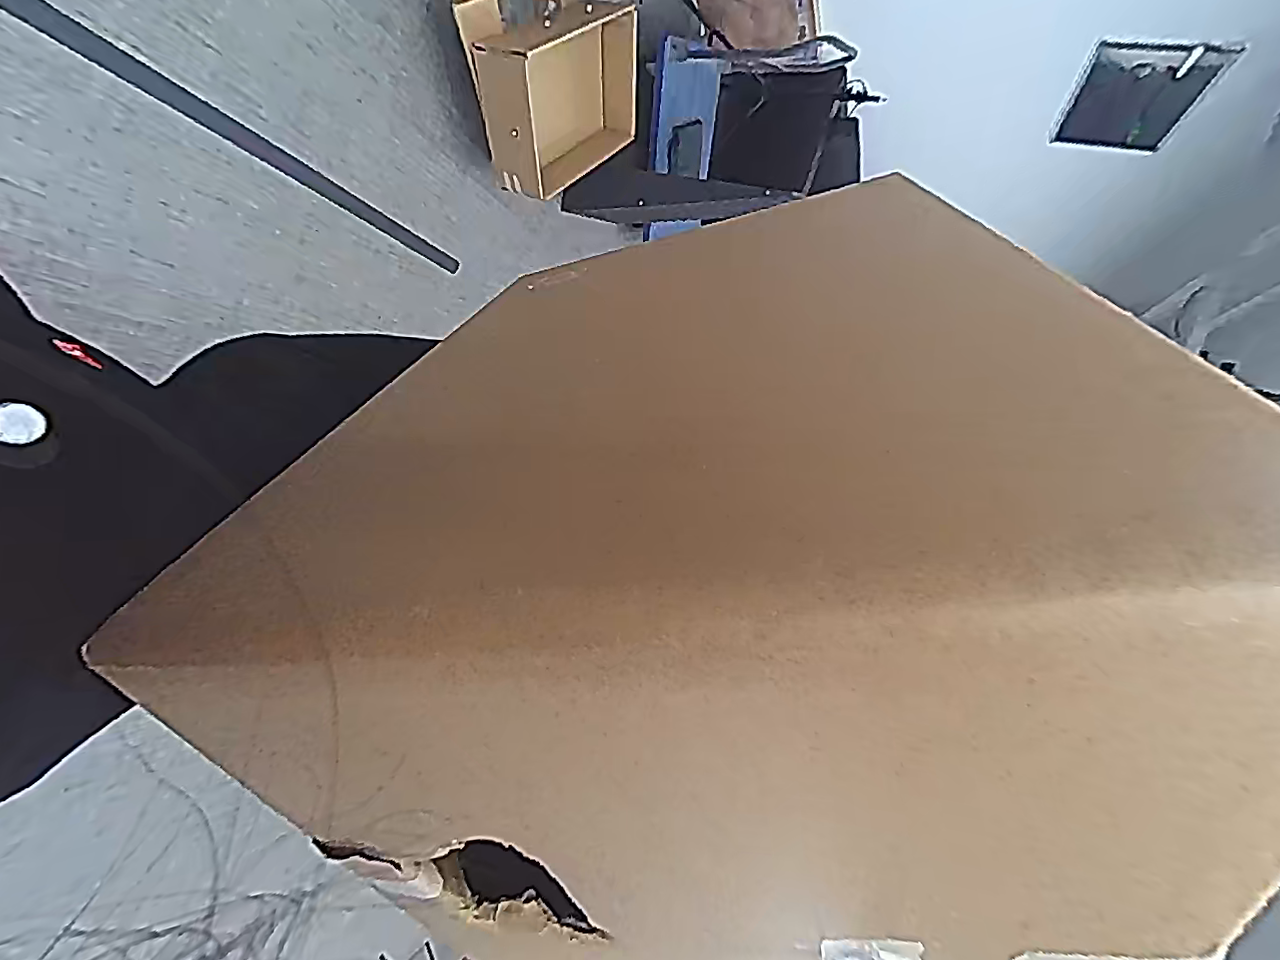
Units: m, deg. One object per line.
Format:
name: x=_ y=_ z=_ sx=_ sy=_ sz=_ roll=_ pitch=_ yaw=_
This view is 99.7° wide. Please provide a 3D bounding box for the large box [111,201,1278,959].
large box: x=0.045 y=0.042 z=0.362 sx=0.408 sy=0.320 sz=0.320 roll=-72 pitch=151 yaw=-53
